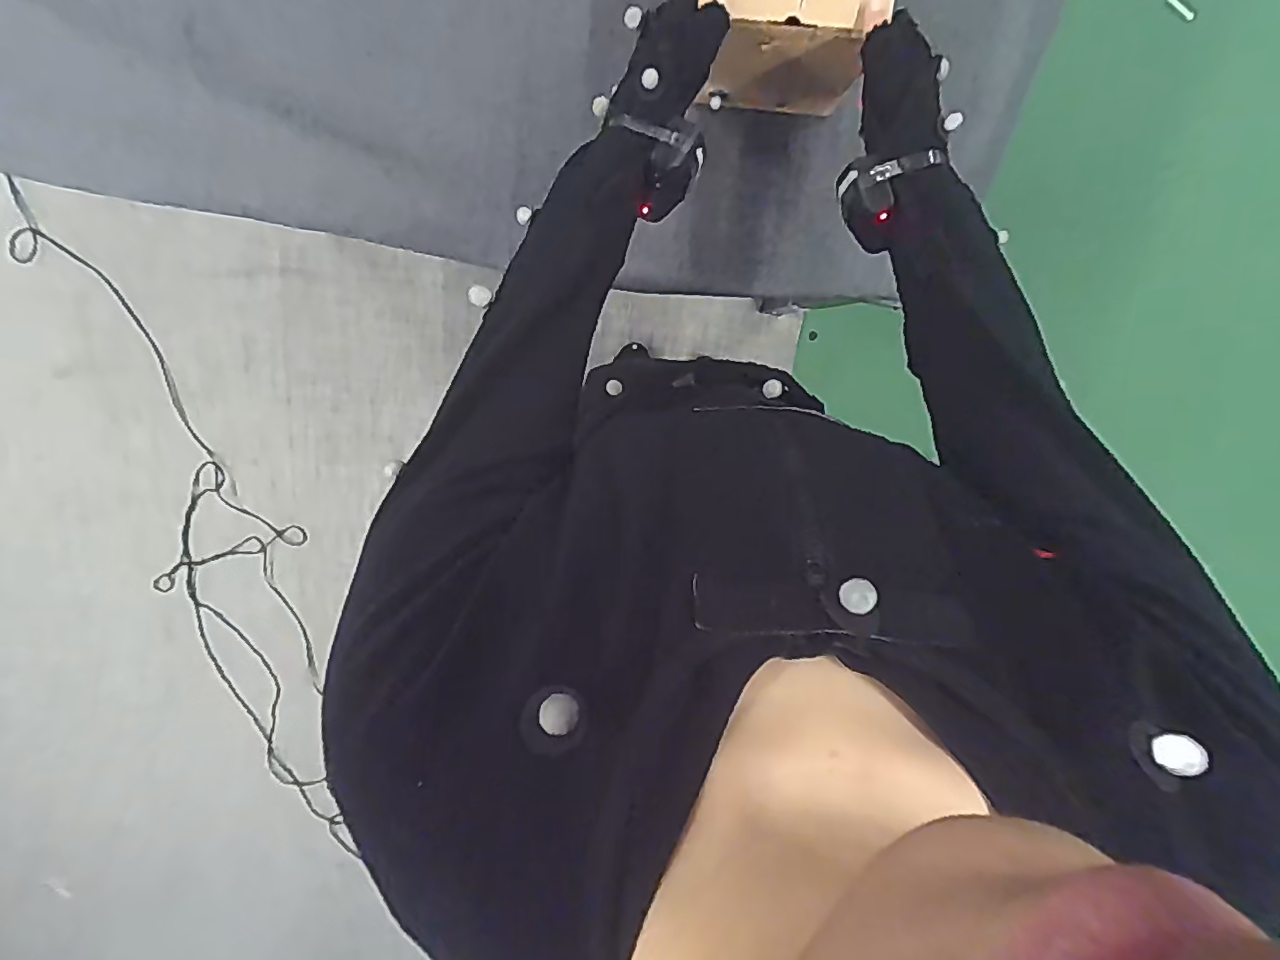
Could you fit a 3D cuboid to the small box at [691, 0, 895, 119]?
[{"bbox_3d":[0.140,-0.476,0.513,0.168,0.176,0.179,6,102,1],"label":"small box"}]
